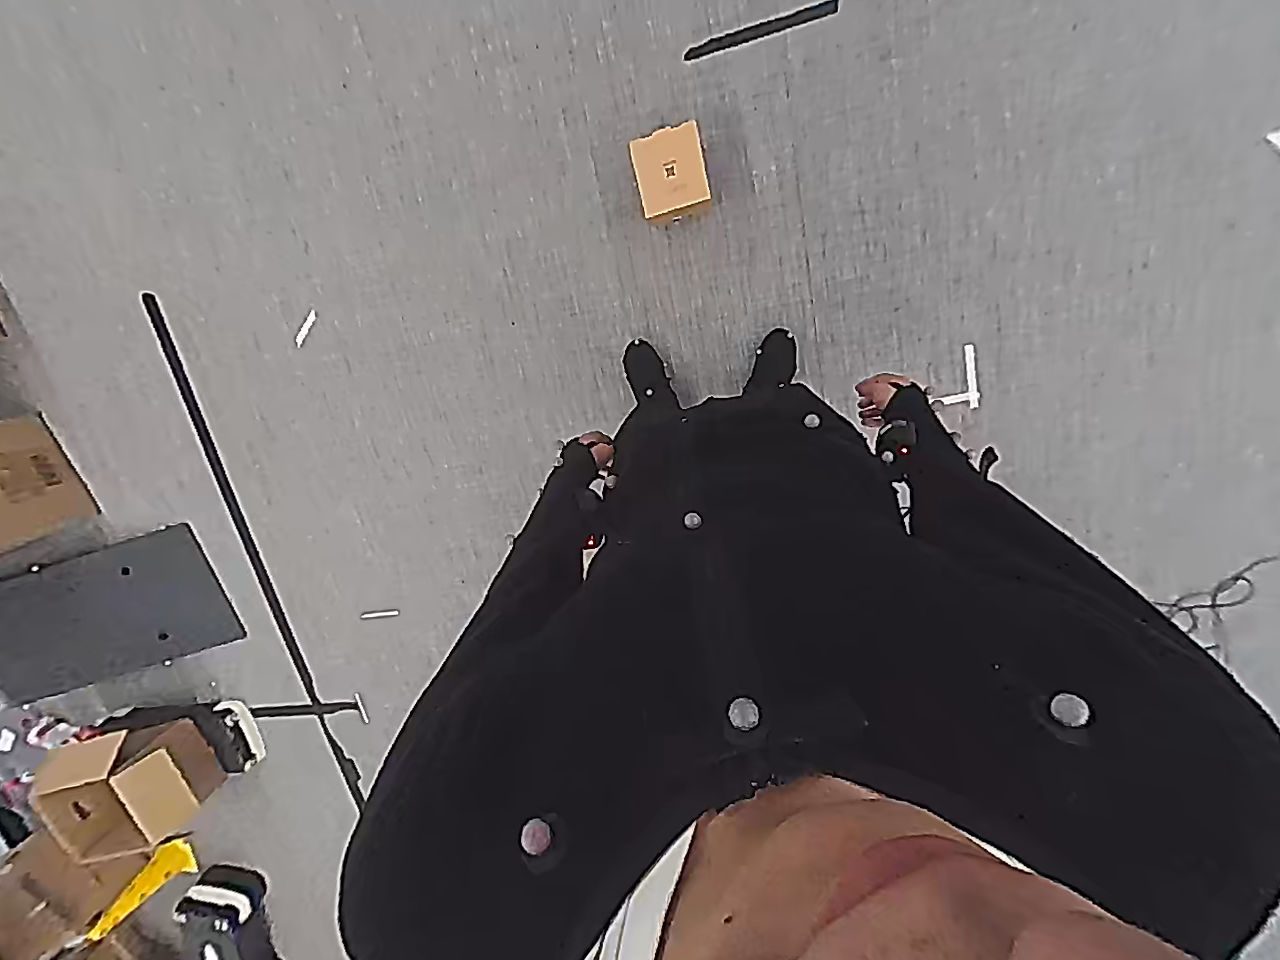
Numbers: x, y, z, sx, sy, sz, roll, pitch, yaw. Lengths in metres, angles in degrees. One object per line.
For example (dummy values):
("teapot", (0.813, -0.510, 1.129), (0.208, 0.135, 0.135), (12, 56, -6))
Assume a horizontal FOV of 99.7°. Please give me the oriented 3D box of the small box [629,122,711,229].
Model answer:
("small box", (0.081, -0.757, 1.362), (0.168, 0.176, 0.179), (-11, 105, 13))
